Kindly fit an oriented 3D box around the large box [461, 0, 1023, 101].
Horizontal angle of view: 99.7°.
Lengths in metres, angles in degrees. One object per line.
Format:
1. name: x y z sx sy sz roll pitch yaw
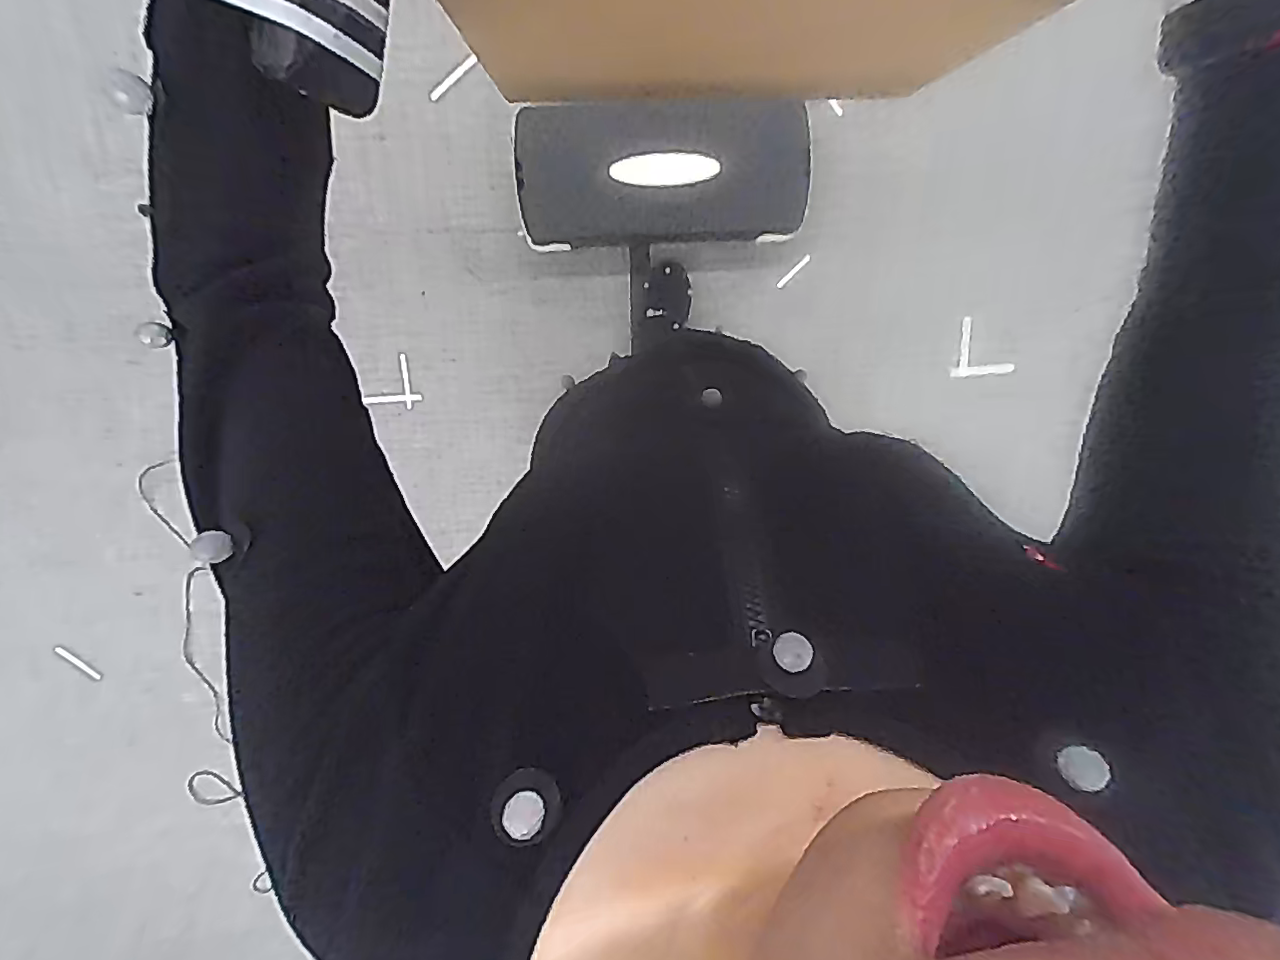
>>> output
1. large box: 0.069 -0.476 0.348 0.408 0.320 0.320 -3 112 -2
